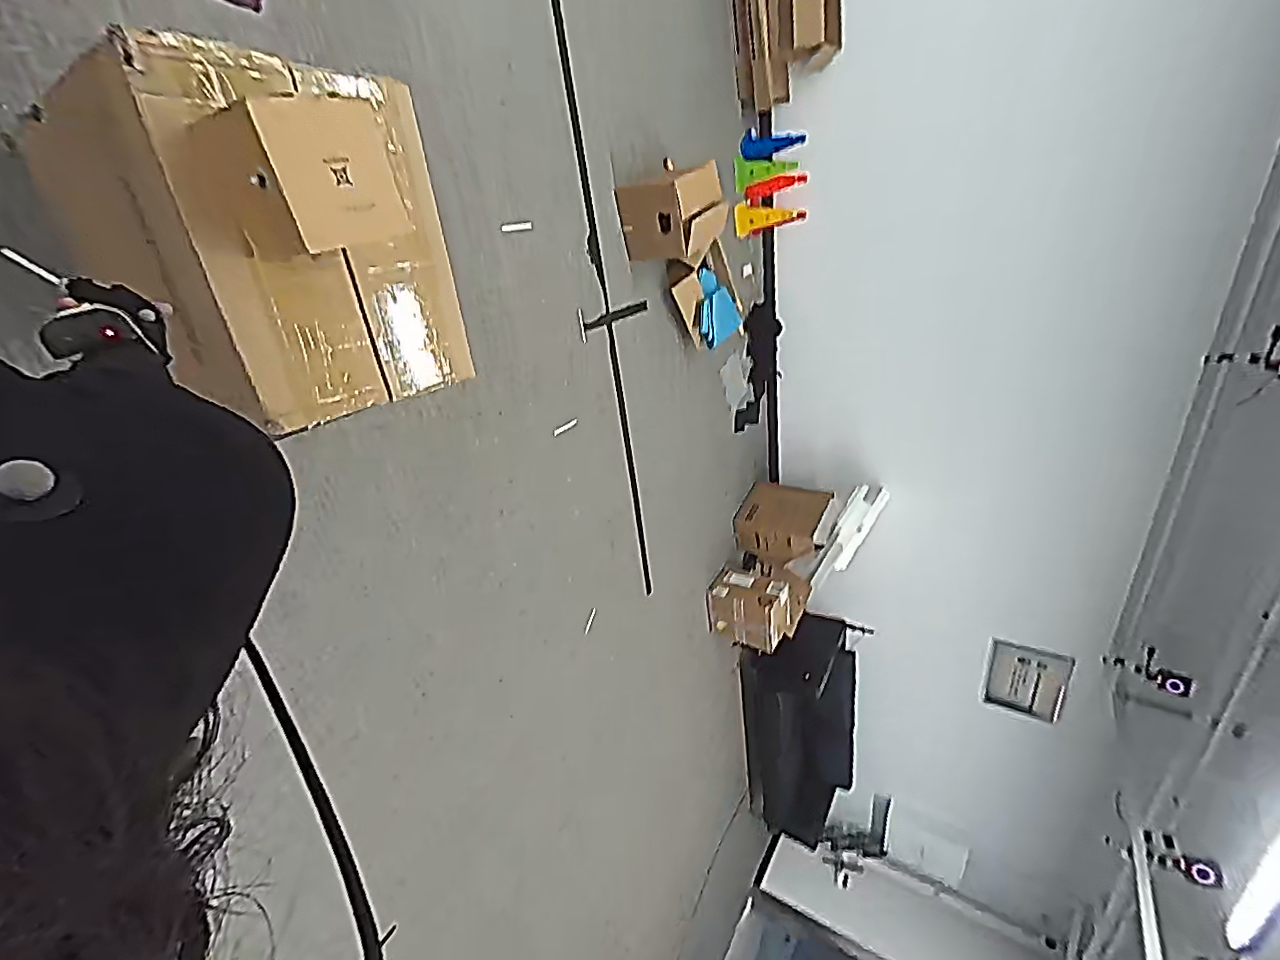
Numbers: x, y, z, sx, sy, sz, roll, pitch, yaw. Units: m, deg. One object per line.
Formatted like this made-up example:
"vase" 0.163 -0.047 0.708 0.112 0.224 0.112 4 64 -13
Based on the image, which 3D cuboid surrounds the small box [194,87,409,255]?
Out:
"small box" -0.468 -0.425 0.756 0.168 0.176 0.179 -41 133 -42
